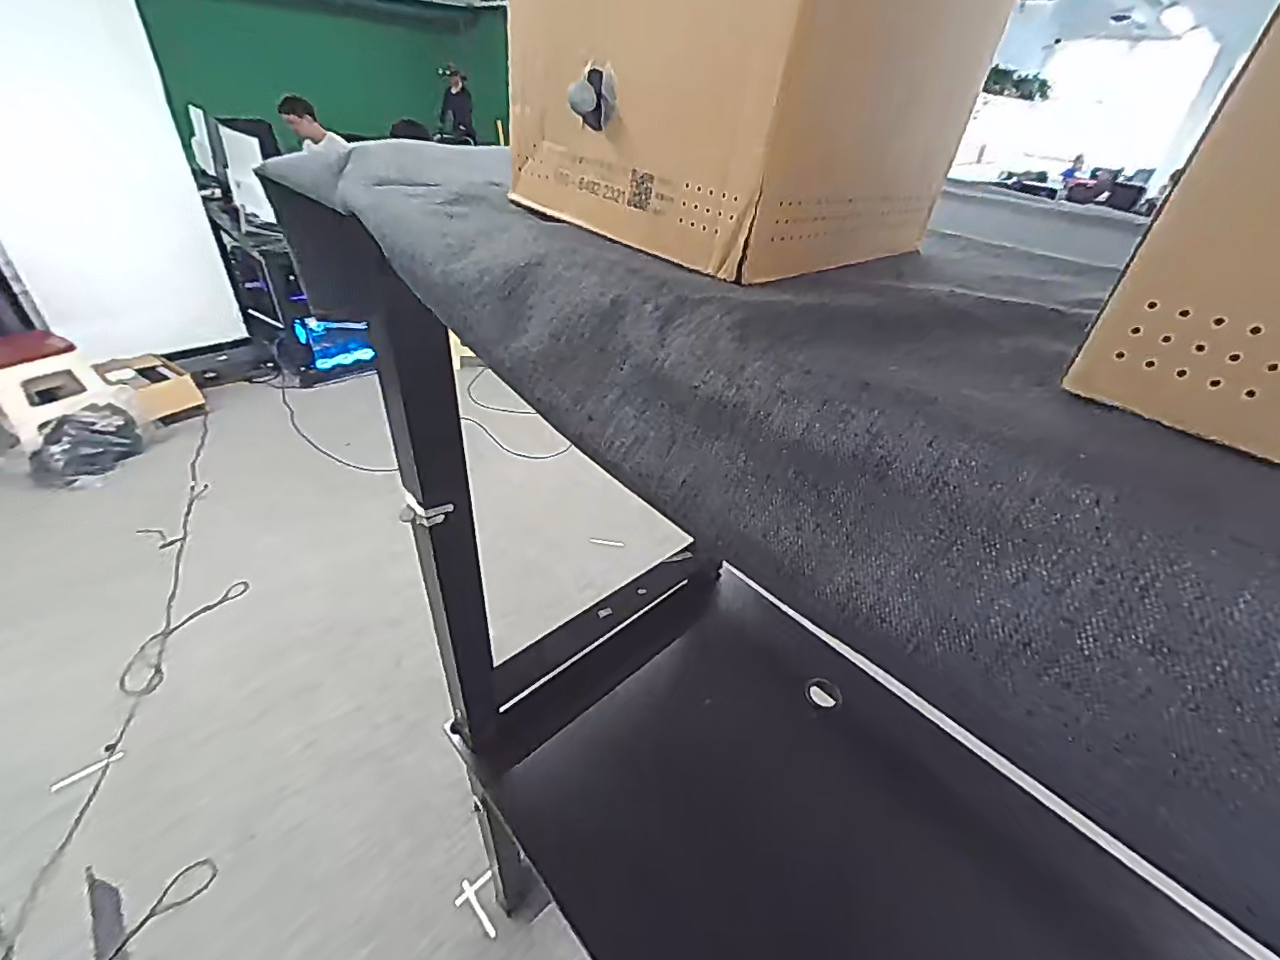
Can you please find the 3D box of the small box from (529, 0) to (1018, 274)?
[{"bbox_3d":[0.058,-0.212,0.261,0.179,0.176,0.168,-26,47,-38],"label":"small box"}]
